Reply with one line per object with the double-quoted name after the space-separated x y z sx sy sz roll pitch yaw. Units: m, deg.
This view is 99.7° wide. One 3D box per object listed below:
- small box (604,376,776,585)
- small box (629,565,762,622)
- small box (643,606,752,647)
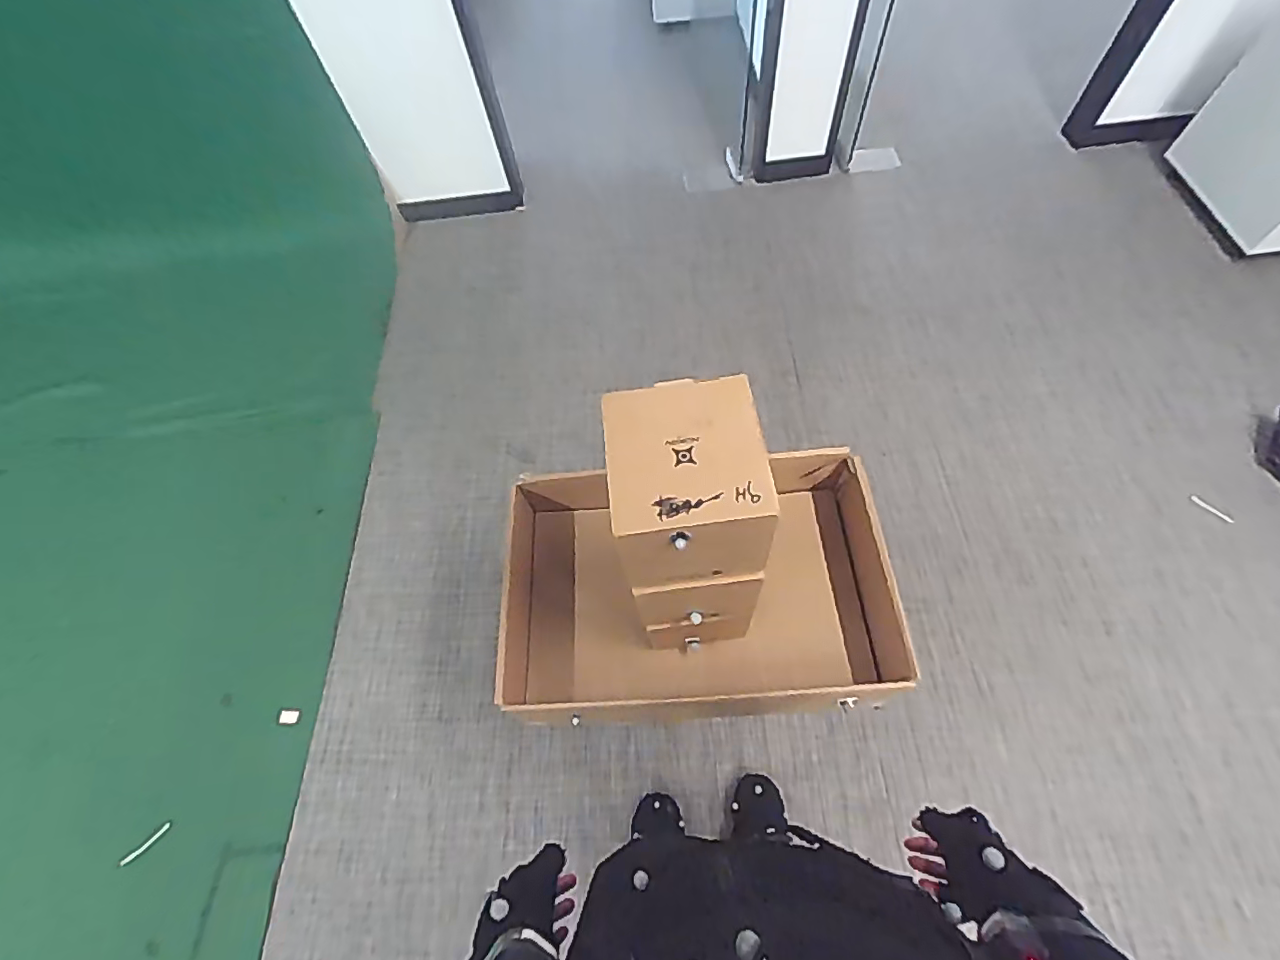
0.053 0.006 0.635 0.168 0.176 0.179 -8 60 4 "small box"
0.071 0.091 0.774 0.168 0.176 0.179 -7 62 3 "small box"
0.085 0.171 0.917 0.168 0.176 0.179 -9 62 2 "small box"
